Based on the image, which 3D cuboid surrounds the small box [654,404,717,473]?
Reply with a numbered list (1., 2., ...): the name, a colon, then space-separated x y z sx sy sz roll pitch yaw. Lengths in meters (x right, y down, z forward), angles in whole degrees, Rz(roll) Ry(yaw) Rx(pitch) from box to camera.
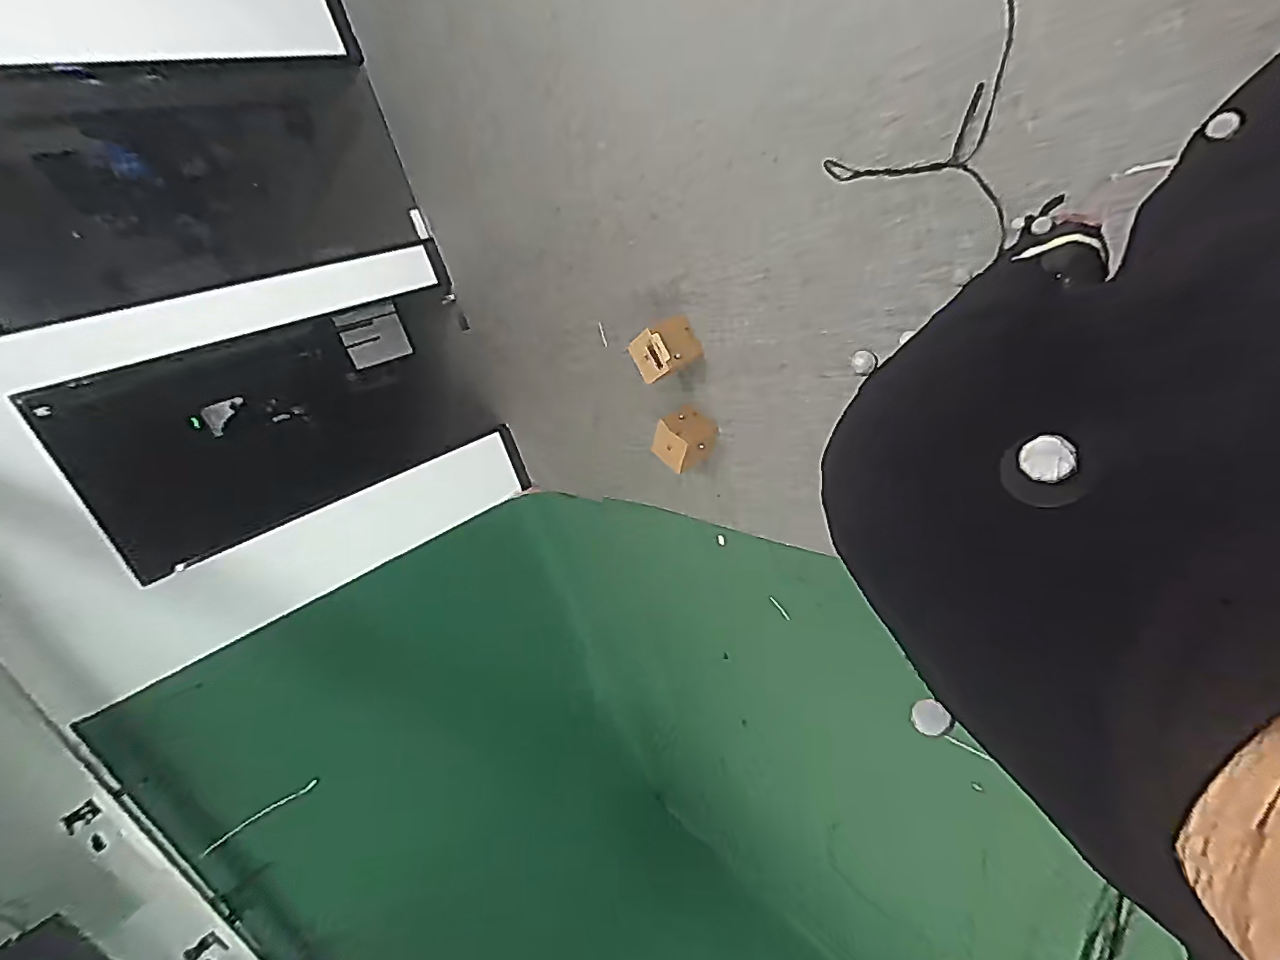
1. small box: 0.180 -0.168 2.108 0.168 0.176 0.179 45 147 26
